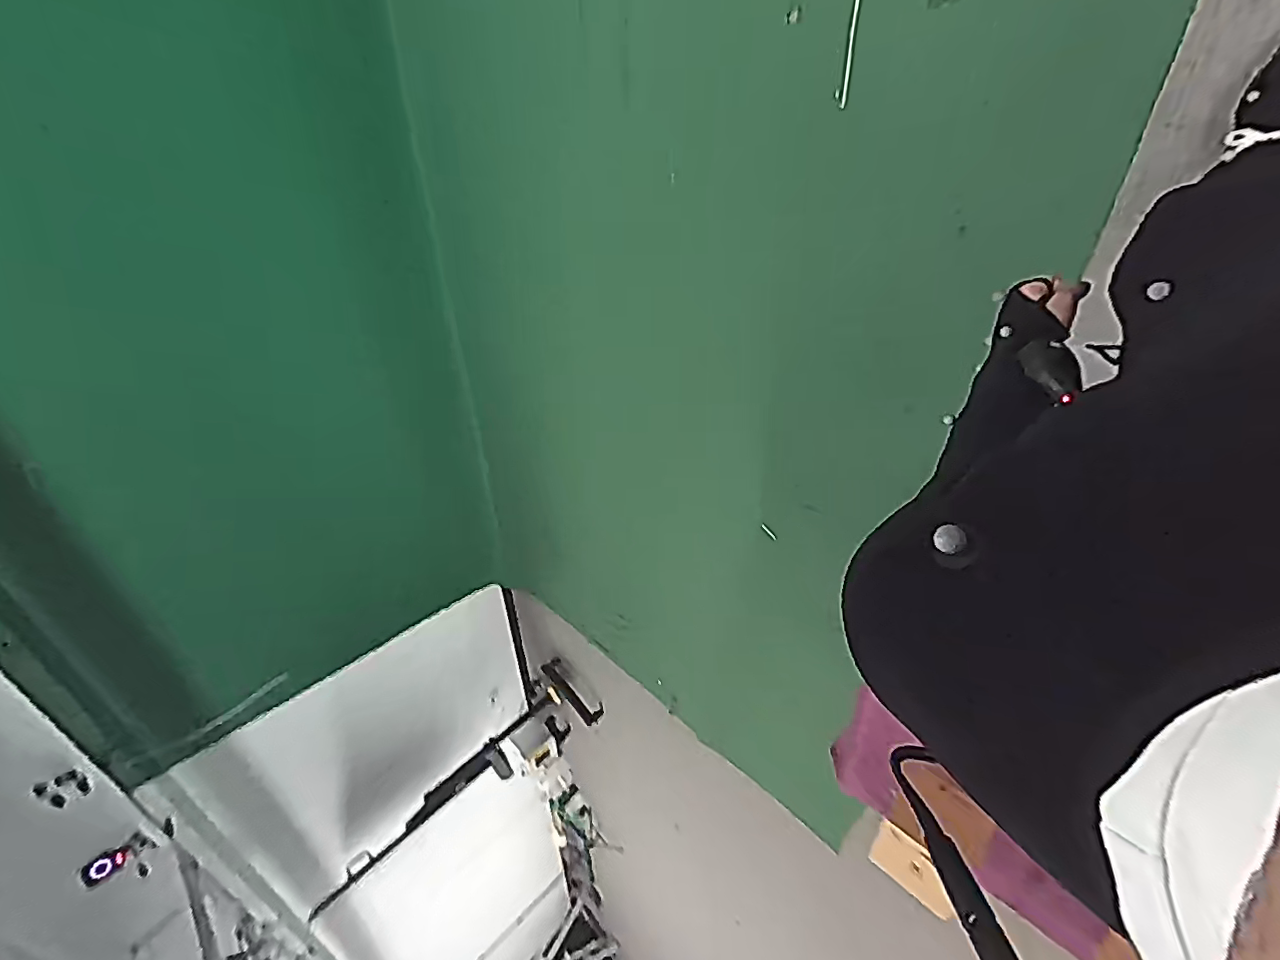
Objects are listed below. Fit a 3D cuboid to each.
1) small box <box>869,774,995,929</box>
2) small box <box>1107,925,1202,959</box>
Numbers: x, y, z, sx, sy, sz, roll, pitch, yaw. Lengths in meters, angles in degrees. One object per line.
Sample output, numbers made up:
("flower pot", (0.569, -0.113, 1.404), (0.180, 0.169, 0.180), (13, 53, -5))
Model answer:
("small box", (0.613, 0.772, 1.136), (0.168, 0.176, 0.179), (27, 132, 36))
("small box", (0.889, 0.908, 0.898), (0.168, 0.176, 0.179), (25, 130, 38))
